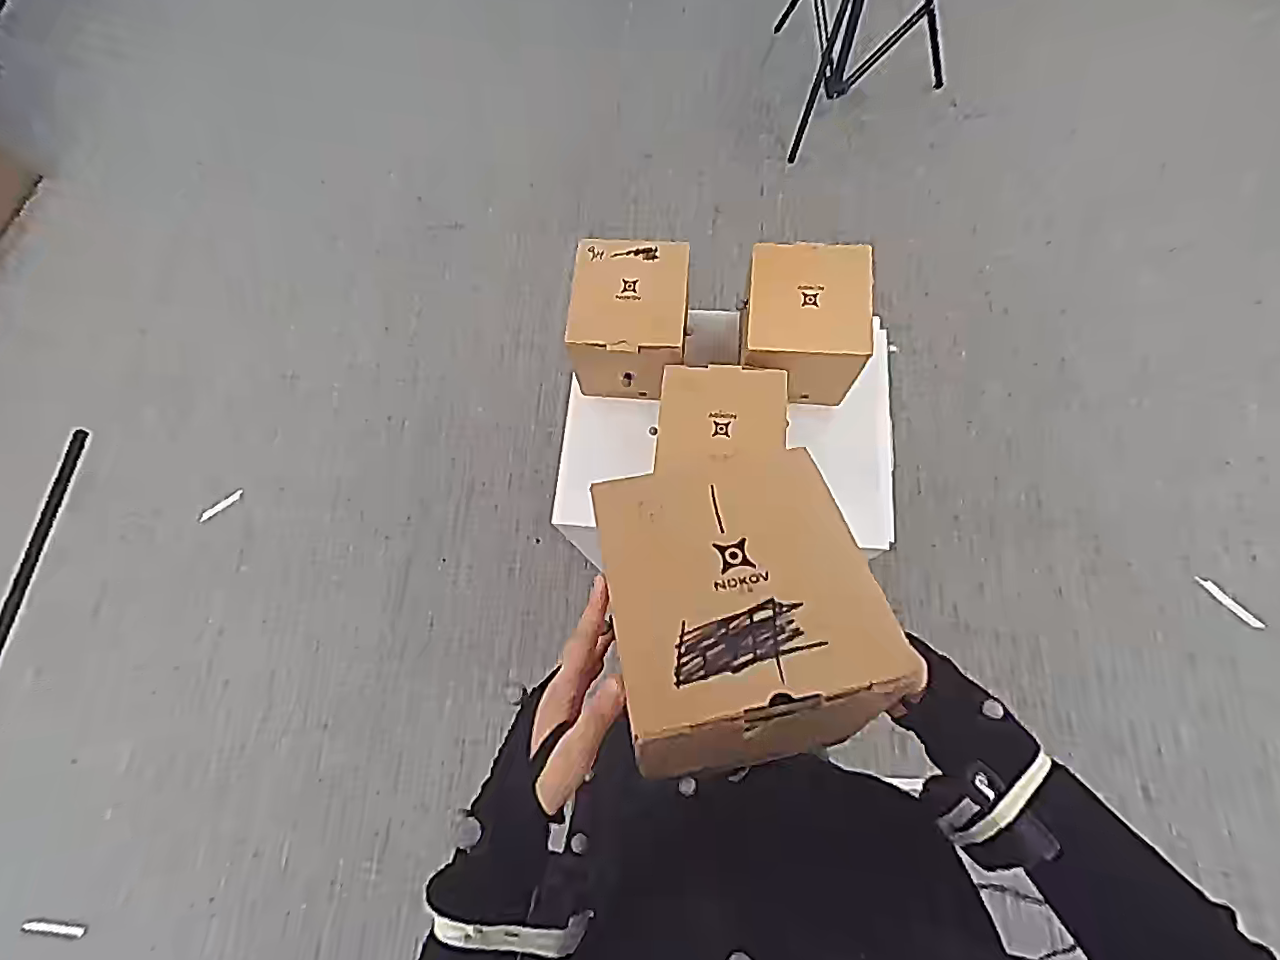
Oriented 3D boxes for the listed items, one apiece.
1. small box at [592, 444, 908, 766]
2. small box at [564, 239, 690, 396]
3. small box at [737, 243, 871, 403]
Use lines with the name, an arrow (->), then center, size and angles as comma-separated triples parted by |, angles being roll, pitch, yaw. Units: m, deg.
small box -> 0.062, 0.102, 0.412 | 0.168, 0.176, 0.179 | -10, 52, -5
small box -> -0.012, -0.243, 0.839 | 0.168, 0.176, 0.179 | 4, 75, 4
small box -> 0.239, -0.229, 0.817 | 0.168, 0.176, 0.179 | 4, 73, 6
